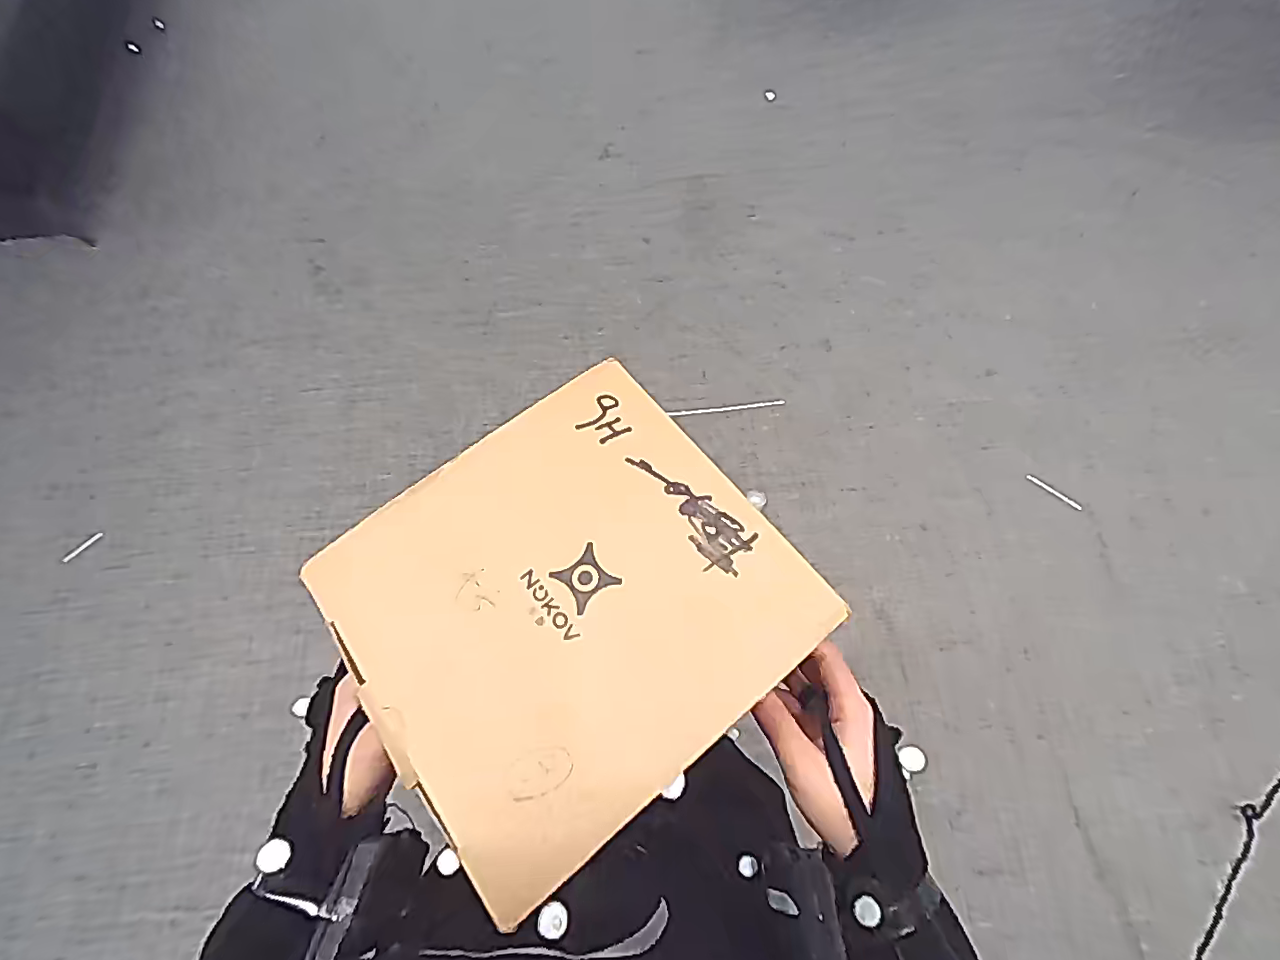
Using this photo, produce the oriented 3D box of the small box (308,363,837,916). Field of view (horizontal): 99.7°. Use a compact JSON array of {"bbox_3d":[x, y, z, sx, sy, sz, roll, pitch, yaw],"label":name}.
[{"bbox_3d":[-0.029,0.078,0.305,0.179,0.176,0.168,-37,71,-12],"label":"small box"}]
